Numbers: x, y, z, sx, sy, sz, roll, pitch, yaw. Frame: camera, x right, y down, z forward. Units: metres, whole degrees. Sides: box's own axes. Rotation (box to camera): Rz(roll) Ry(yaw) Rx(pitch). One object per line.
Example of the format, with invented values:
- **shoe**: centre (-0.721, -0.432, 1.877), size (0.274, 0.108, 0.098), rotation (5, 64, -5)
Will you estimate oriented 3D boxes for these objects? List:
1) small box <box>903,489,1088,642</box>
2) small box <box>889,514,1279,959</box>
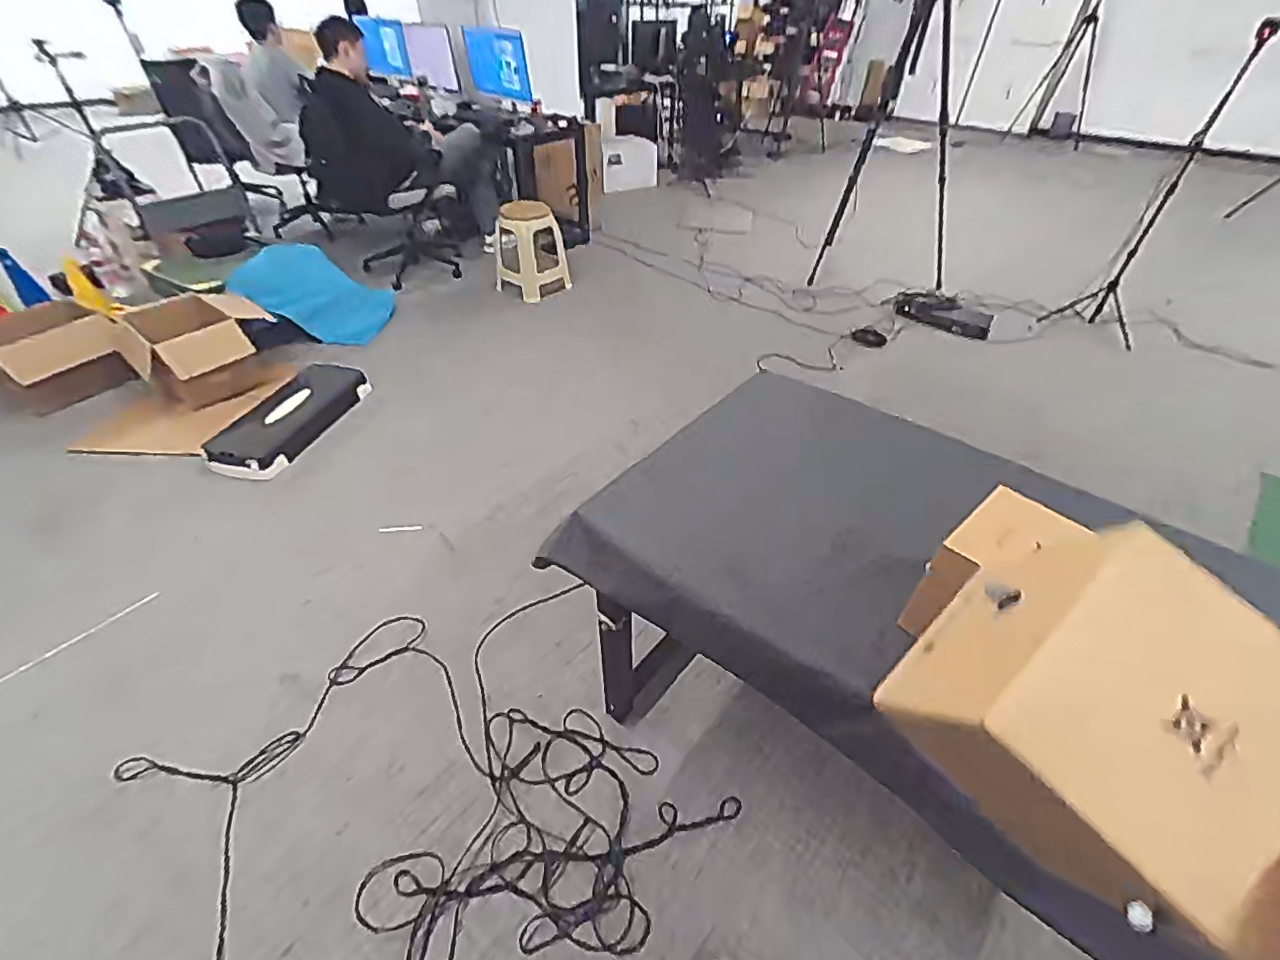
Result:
- **small box**: centre (0.472, 0.149, 0.678), size (0.168, 0.176, 0.179), rotation (-29, 49, -31)
- **small box**: centre (0.316, 0.156, 0.379), size (0.179, 0.176, 0.168), rotation (43, 78, 13)
